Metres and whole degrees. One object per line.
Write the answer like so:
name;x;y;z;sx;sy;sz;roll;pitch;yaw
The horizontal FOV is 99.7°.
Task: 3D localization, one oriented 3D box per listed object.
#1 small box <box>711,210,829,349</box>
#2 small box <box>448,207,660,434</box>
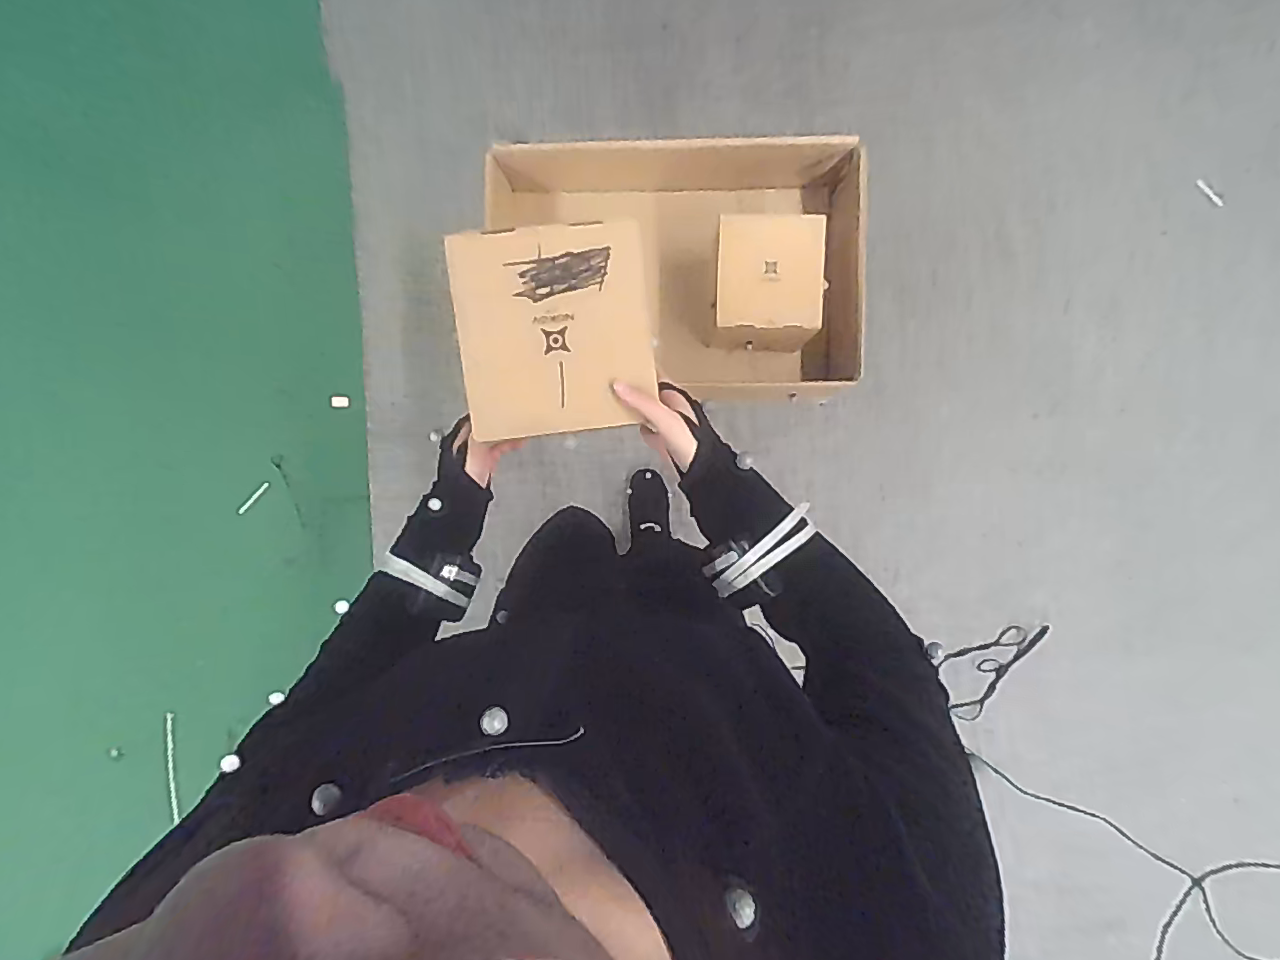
small box;0.209;-0.329;0.912;0.168;0.176;0.179;2;92;3
small box;-0.077;-0.143;0.543;0.168;0.176;0.179;-7;94;-2
